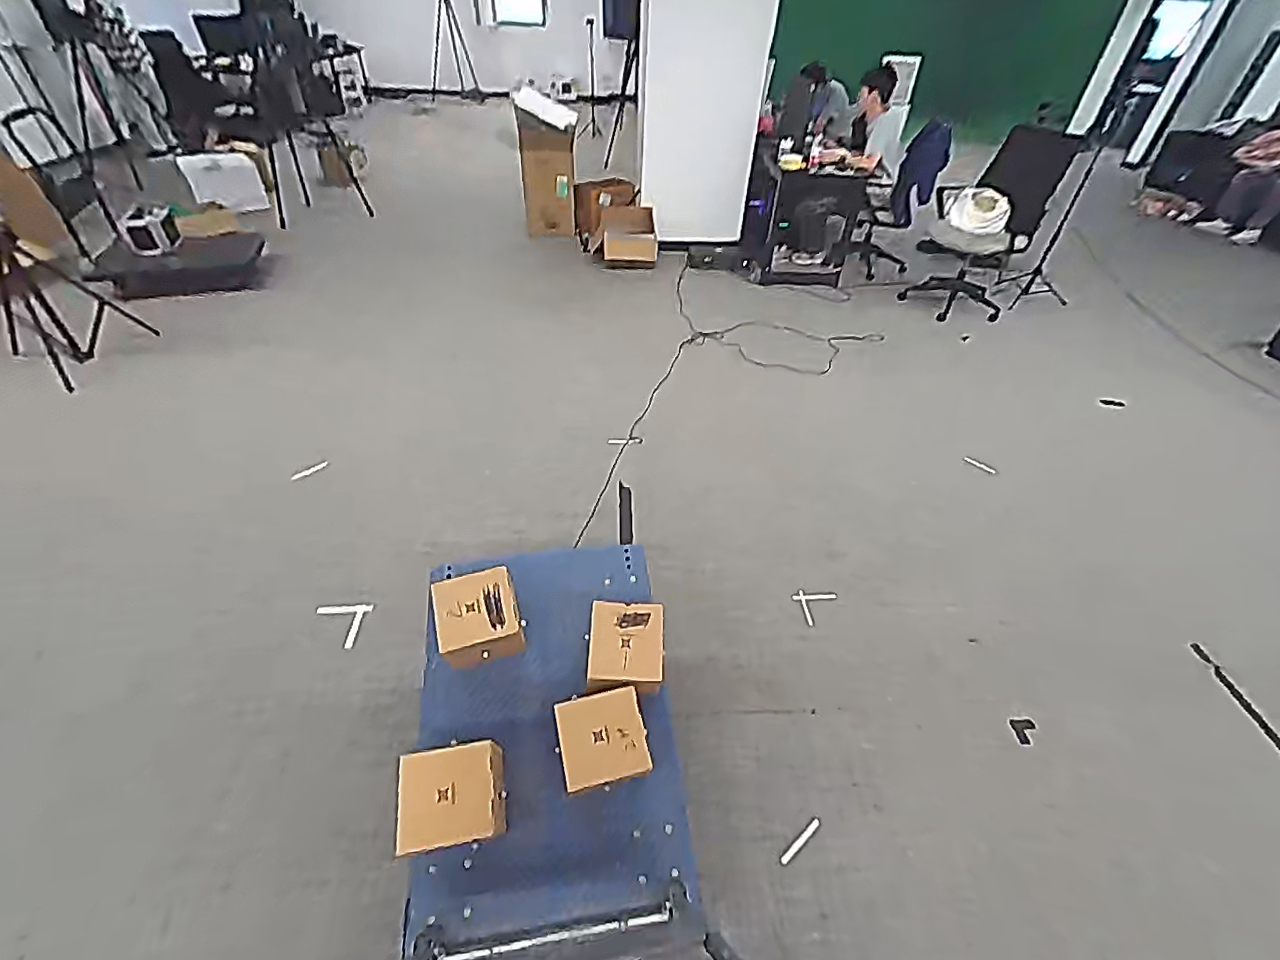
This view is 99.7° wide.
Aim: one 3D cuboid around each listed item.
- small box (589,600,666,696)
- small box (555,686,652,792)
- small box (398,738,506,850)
[{"bbox_3d":[-0.031,0.400,1.280,0.168,0.176,0.179,4,59,-2],"label":"small box"},{"bbox_3d":[-0.080,0.565,1.173,0.179,0.176,0.168,-10,60,-10],"label":"small box"},{"bbox_3d":[-0.376,0.641,1.102,0.179,0.176,0.168,-6,58,-10],"label":"small box"}]
